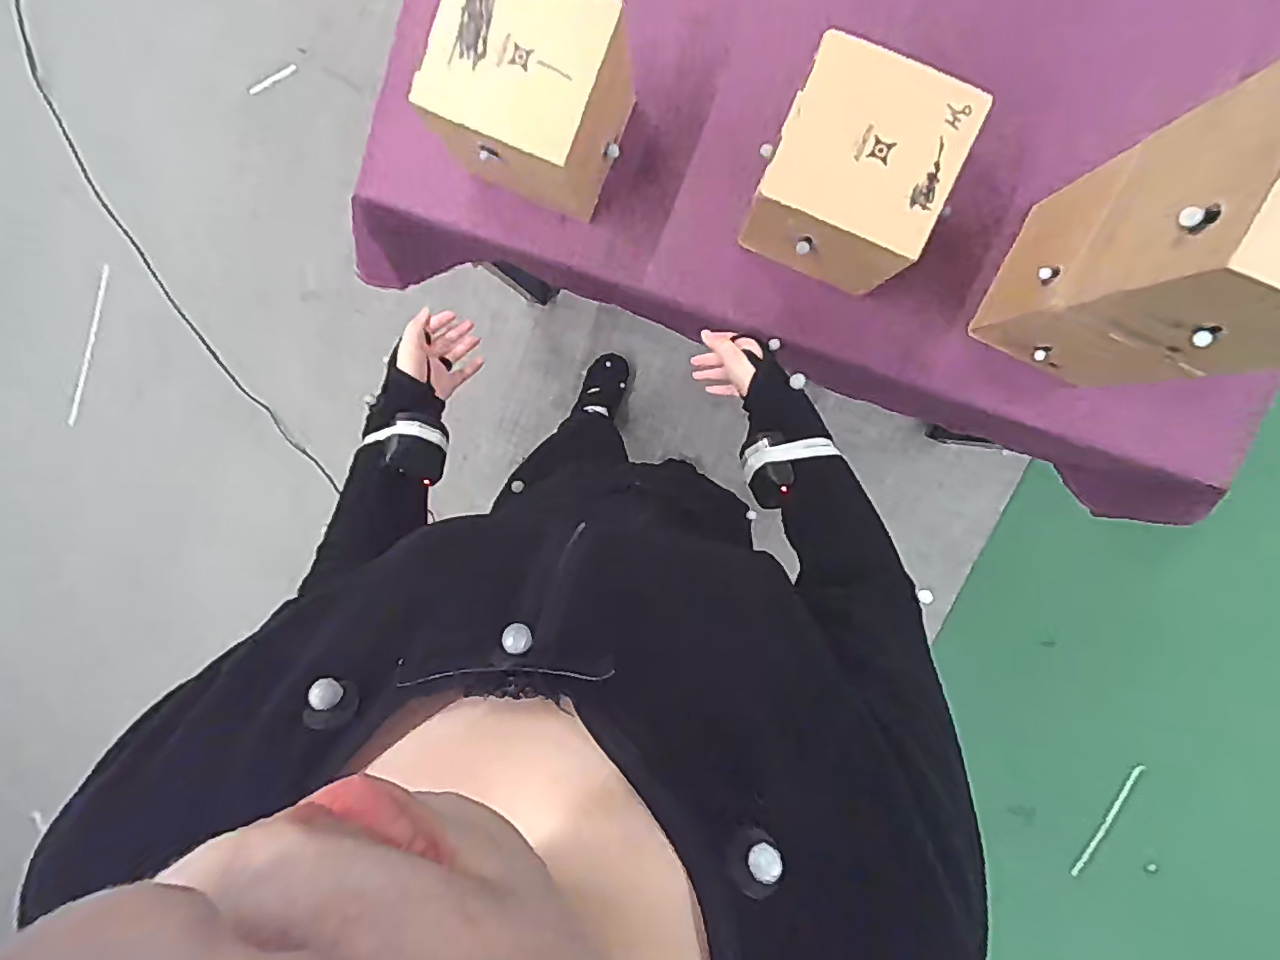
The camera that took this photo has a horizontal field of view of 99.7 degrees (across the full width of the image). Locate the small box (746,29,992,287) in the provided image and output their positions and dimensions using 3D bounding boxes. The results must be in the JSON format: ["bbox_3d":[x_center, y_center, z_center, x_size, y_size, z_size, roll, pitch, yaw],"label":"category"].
[{"bbox_3d":[0.234,-0.339,0.610,0.179,0.176,0.168,24,98,2],"label":"small box"}]

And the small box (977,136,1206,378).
[{"bbox_3d":[0.525,-0.228,0.604,0.168,0.176,0.179,25,99,1],"label":"small box"}]

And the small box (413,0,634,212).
[{"bbox_3d":[-0.118,-0.440,0.621,0.179,0.176,0.168,23,98,0],"label":"small box"}]

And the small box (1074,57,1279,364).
[{"bbox_3d":[0.514,-0.207,0.441,0.168,0.176,0.179,24,98,0],"label":"small box"}]
